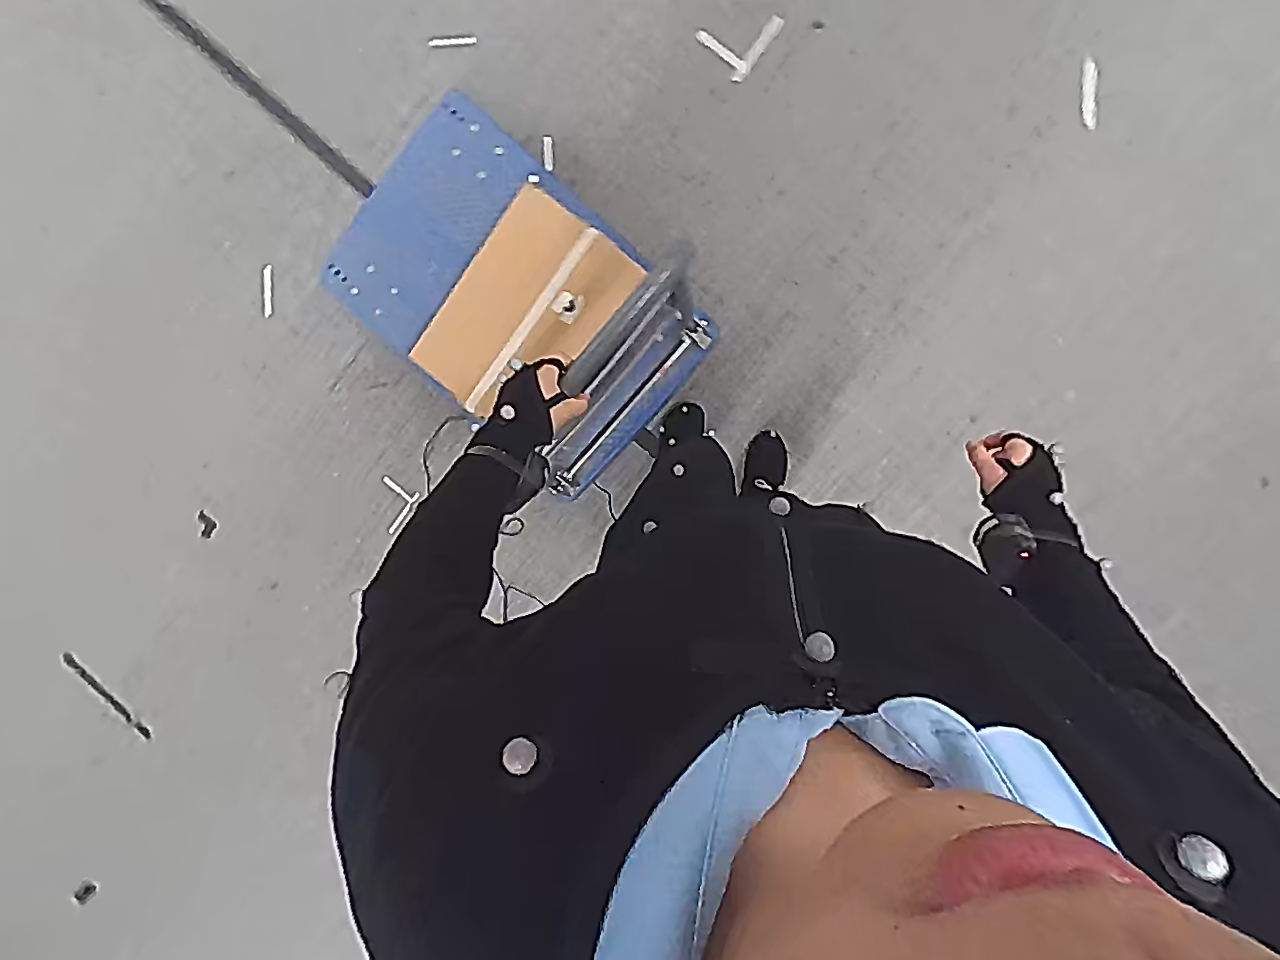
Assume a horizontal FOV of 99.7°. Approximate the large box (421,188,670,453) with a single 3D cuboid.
[{"bbox_3d":[-0.180,-0.309,1.172,0.320,0.320,0.408,39,98,0],"label":"large box"}]
